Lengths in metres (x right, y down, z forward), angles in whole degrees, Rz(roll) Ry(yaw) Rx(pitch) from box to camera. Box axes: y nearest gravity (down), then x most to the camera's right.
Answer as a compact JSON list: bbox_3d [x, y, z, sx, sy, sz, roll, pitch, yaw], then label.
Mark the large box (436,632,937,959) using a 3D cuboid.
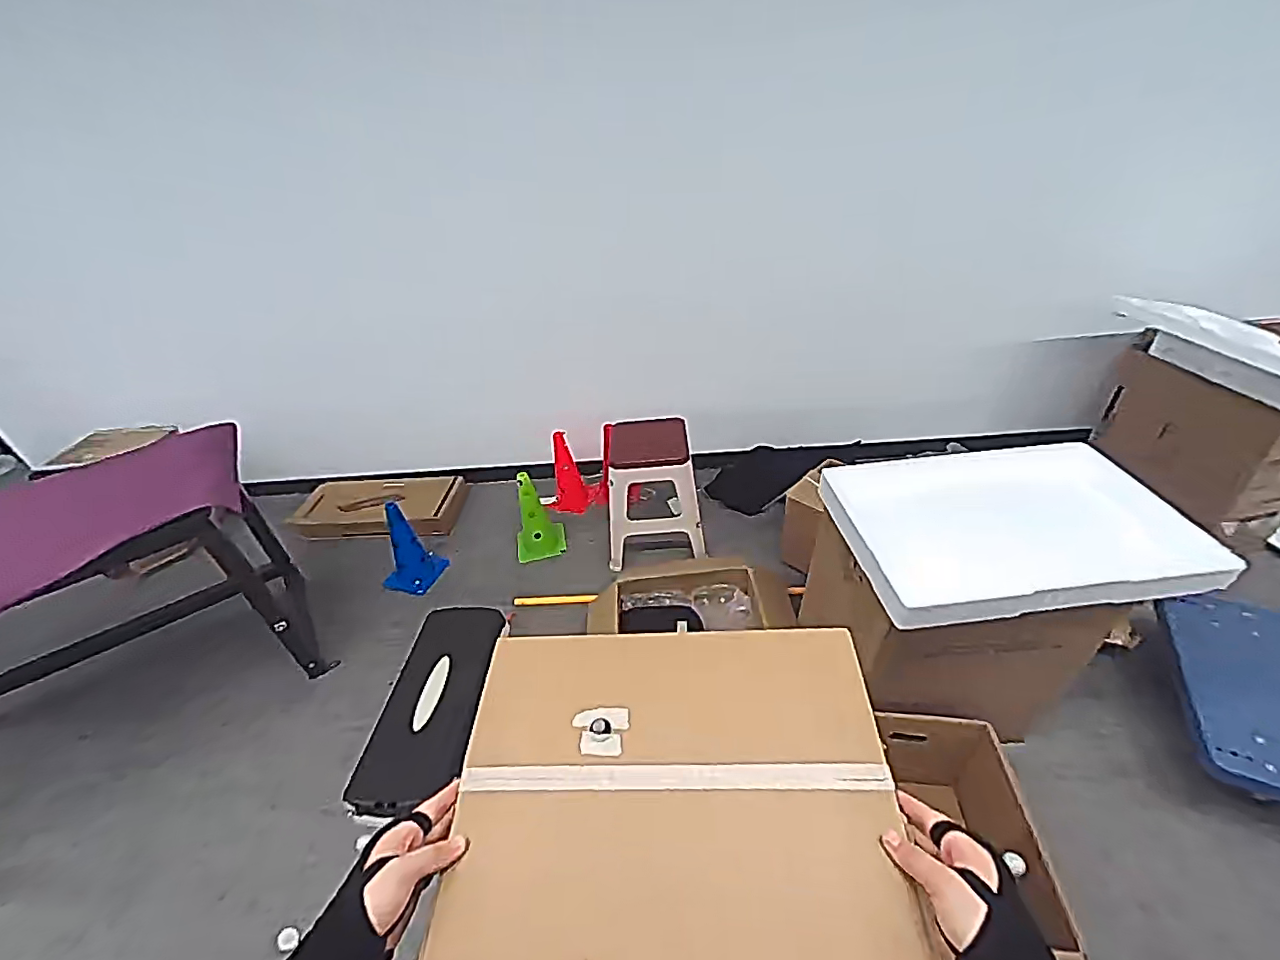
[{"bbox_3d":[0.050,0.401,0.619,0.408,0.320,0.320,-5,41,6],"label":"large box"}]
